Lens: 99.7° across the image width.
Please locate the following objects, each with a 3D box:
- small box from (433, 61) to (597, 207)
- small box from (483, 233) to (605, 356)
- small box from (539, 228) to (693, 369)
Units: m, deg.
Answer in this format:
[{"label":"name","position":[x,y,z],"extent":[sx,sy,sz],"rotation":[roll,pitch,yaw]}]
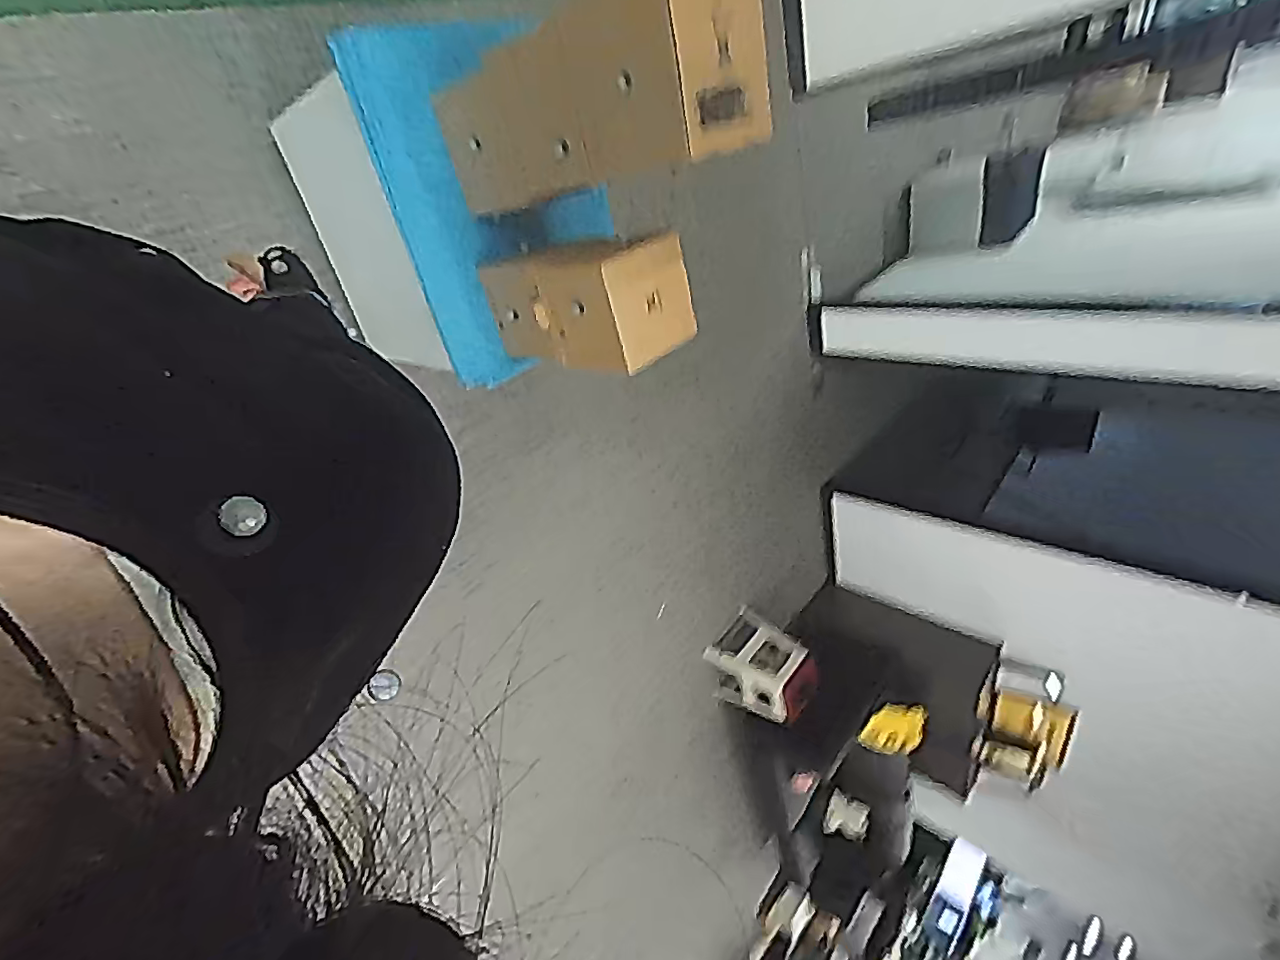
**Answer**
[{"label":"small box","position":[-0.197,-0.549,0.866],"extent":[0.168,0.176,0.179],"rotation":[-37,128,-34]},{"label":"small box","position":[-0.162,-0.337,0.981],"extent":[0.179,0.176,0.168],"rotation":[-36,128,-33]},{"label":"small box","position":[-0.042,-0.293,0.878],"extent":[0.179,0.176,0.168],"rotation":[-40,129,-34]}]
